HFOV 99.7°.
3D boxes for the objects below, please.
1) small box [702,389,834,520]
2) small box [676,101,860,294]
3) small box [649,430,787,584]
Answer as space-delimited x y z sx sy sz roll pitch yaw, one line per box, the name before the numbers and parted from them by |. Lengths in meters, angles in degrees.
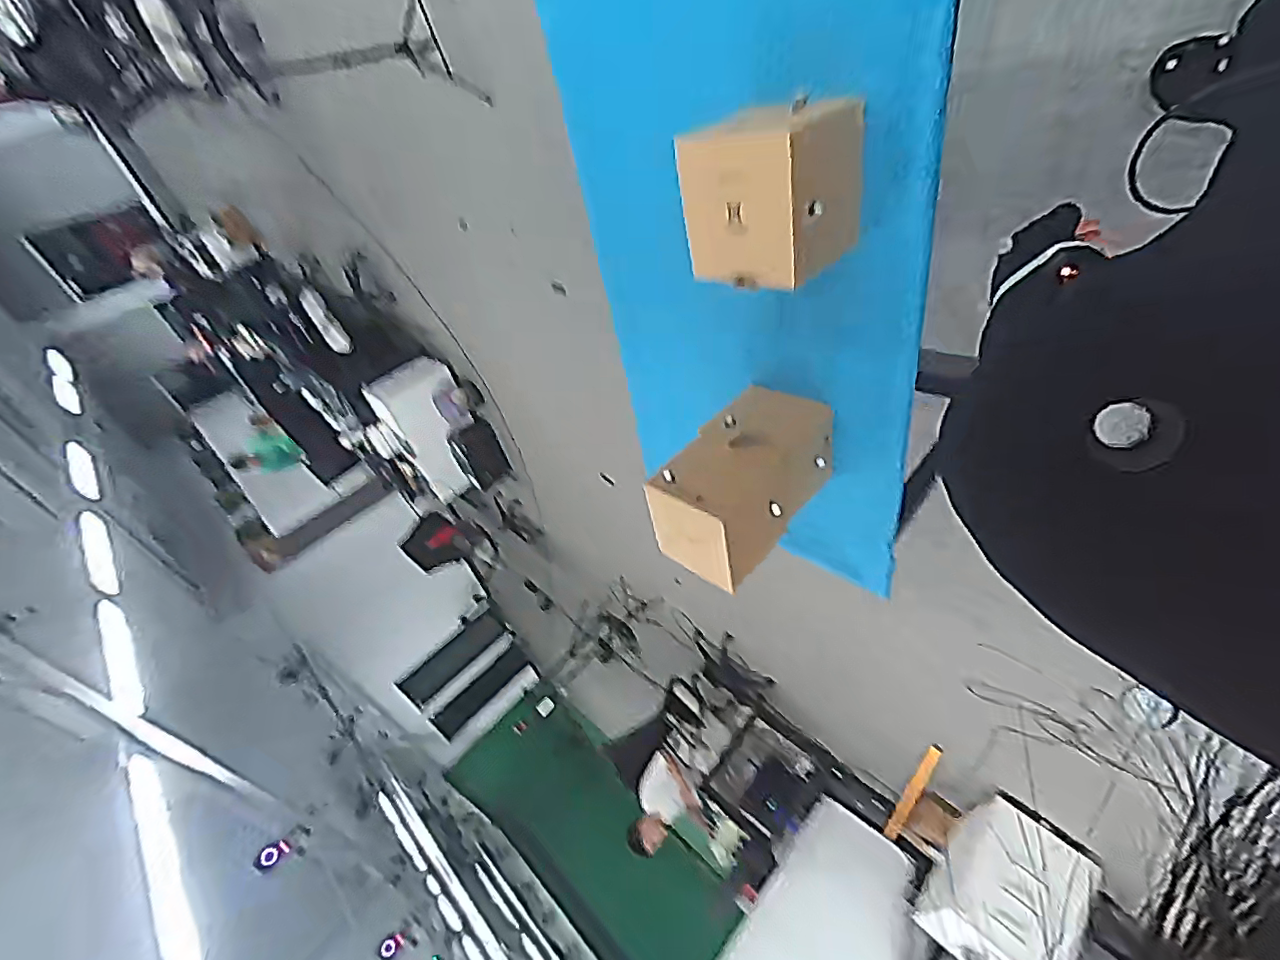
small box | 0.242 -0.051 1.026 0.179 0.176 0.168 25 145 36
small box | 0.175 -0.374 0.719 0.168 0.176 0.179 25 144 39
small box | 0.136 0.046 0.939 0.168 0.176 0.179 26 144 38
